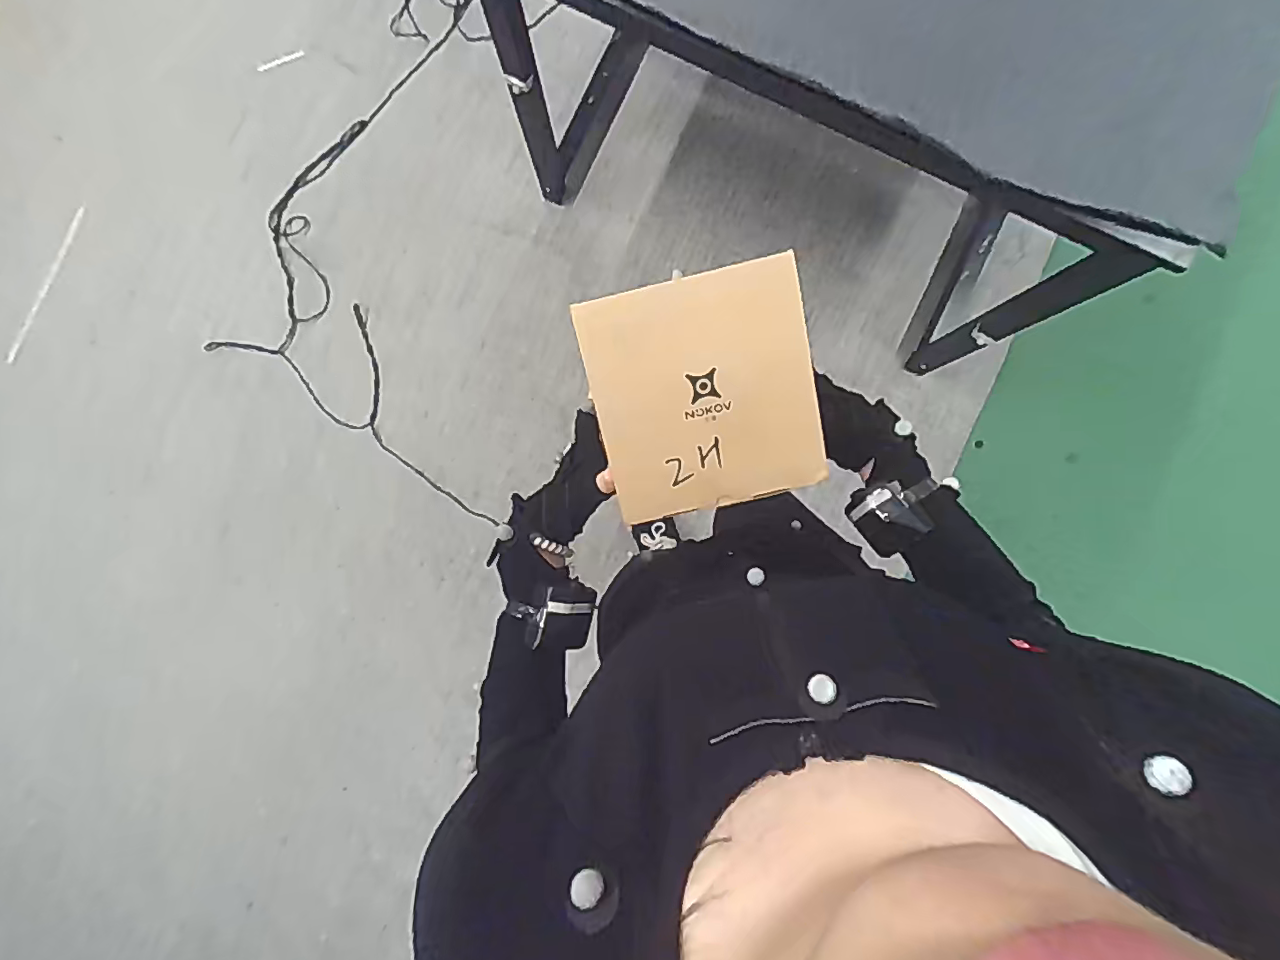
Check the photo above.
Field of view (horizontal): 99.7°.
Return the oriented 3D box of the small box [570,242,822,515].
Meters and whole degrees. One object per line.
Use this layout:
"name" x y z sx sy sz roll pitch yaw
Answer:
"small box" 0.045 -0.087 0.480 0.168 0.176 0.179 -12 103 4
